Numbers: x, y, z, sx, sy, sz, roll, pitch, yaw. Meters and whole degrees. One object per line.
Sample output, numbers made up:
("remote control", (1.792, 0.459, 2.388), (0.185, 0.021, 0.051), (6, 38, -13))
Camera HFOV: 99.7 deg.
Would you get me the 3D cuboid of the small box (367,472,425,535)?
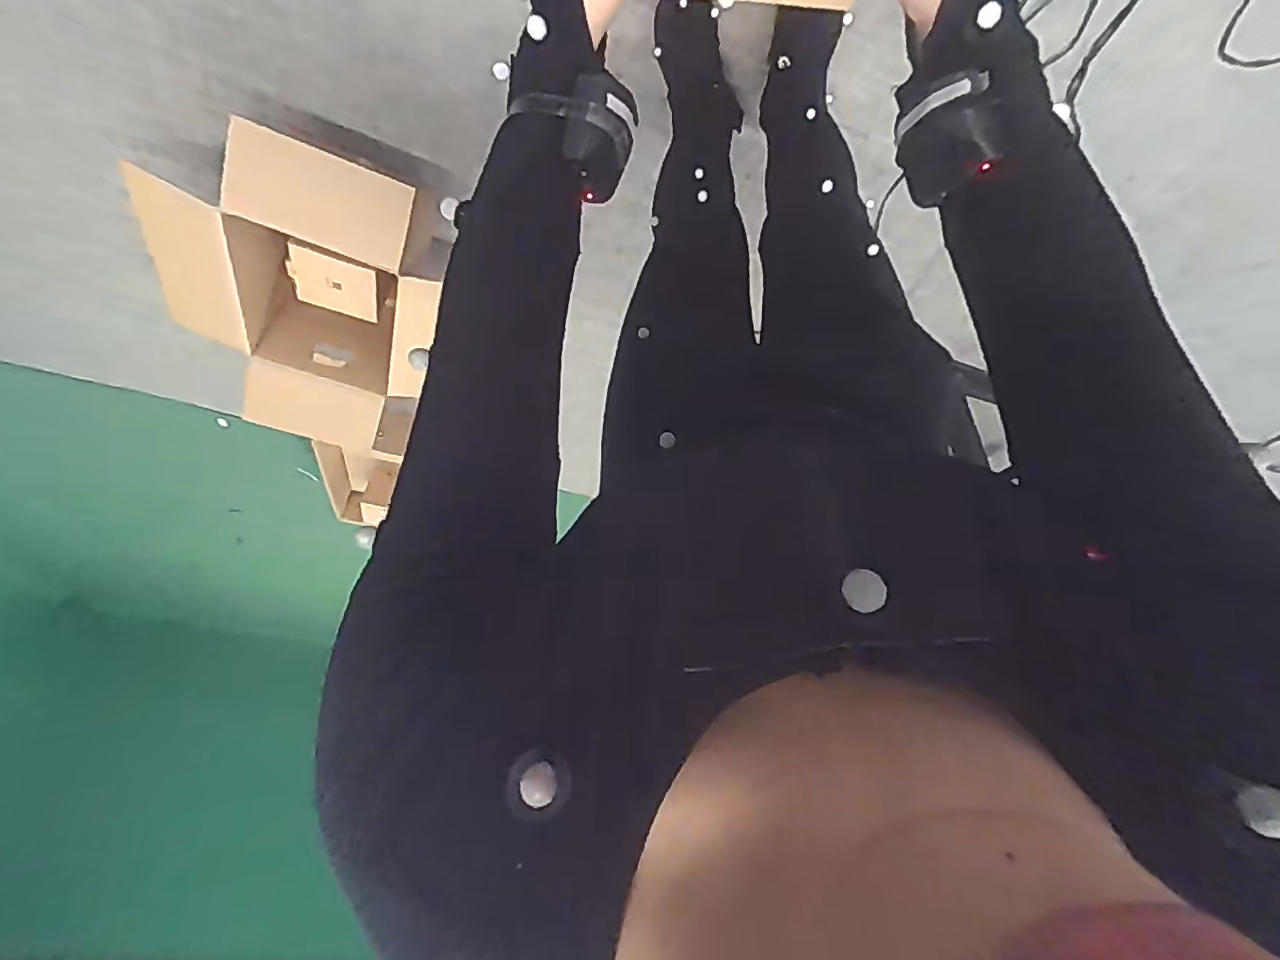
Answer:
("small box", (-0.969, 0.093, 2.160), (0.168, 0.176, 0.179), (14, 145, -13))
